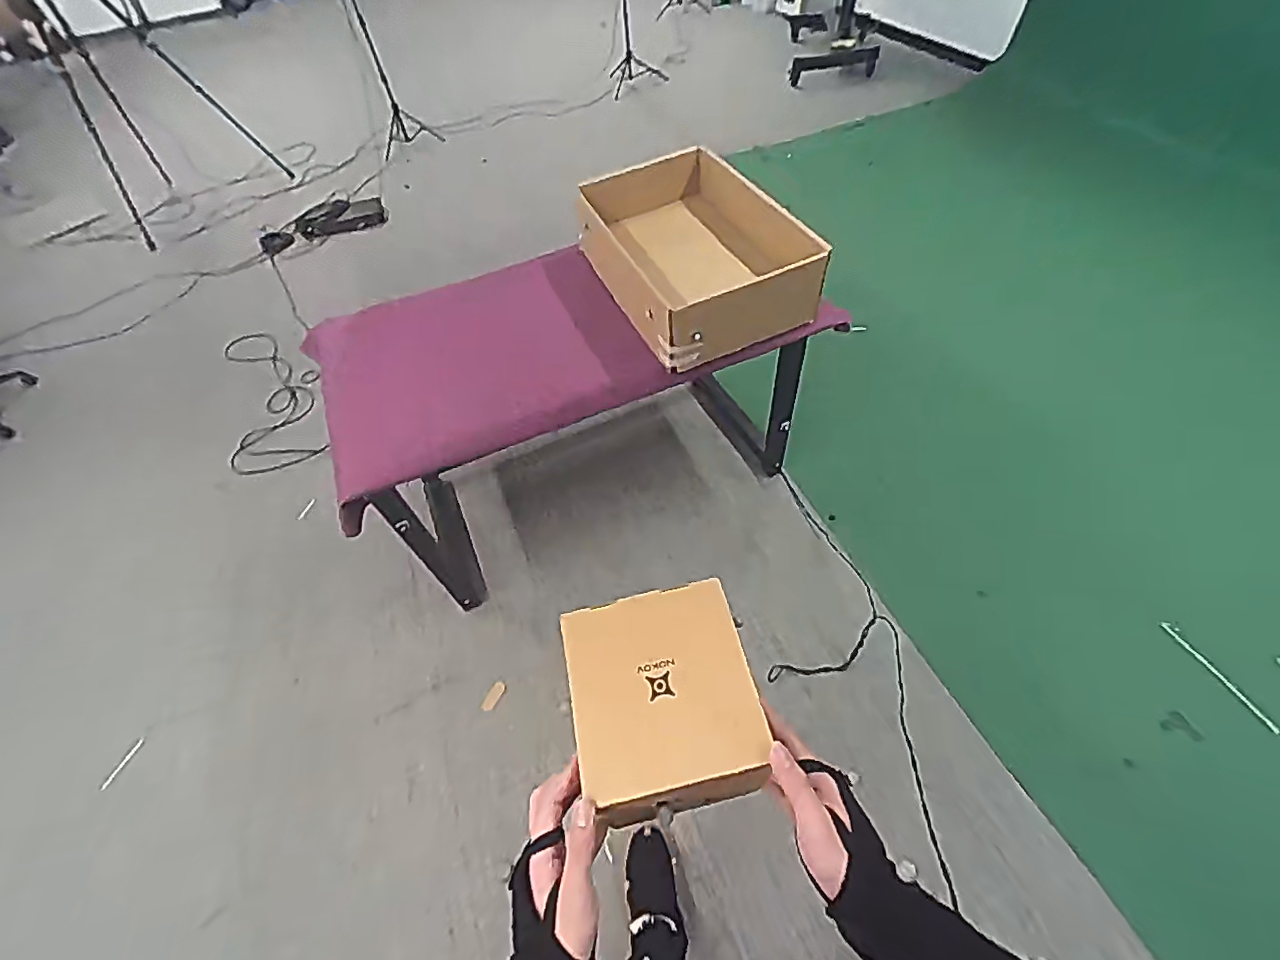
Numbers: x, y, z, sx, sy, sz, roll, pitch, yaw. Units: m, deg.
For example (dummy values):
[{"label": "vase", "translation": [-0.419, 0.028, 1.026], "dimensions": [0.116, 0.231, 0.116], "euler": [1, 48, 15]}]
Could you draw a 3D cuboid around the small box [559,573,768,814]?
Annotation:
[{"label": "small box", "translation": [0.022, 0.225, 0.554], "dimensions": [0.168, 0.176, 0.179], "euler": [-13, 51, -2]}]
